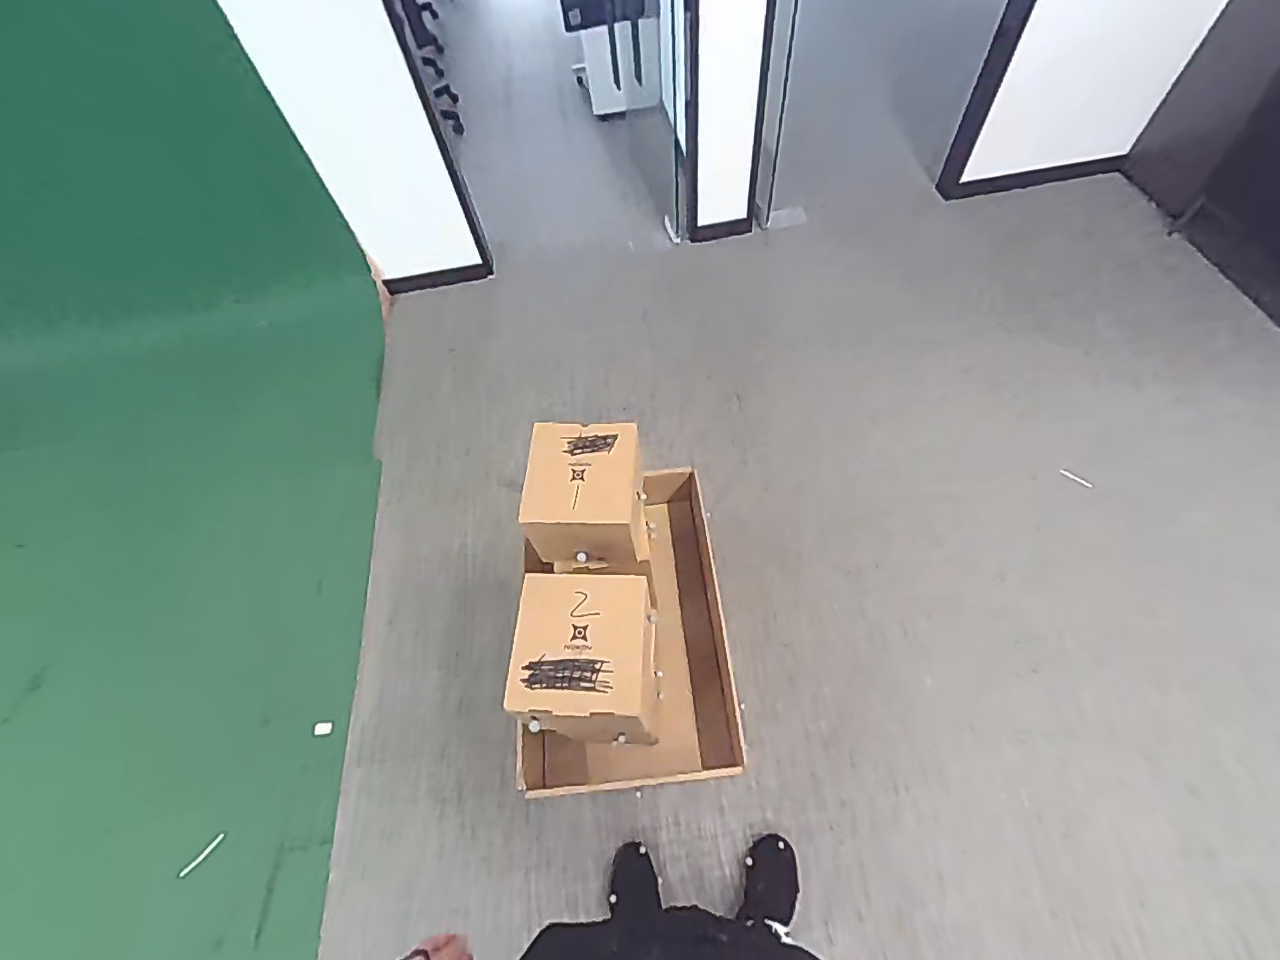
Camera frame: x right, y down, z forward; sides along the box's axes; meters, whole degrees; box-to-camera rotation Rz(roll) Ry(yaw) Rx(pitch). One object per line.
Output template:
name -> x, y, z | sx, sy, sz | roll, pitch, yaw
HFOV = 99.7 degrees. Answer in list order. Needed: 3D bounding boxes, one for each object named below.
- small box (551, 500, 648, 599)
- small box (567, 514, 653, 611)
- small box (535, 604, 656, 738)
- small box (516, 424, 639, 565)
small box -> -0.076, 0.111, 1.027 | 0.168, 0.176, 0.179 | -7, 61, -1
small box -> -0.065, 0.189, 1.169 | 0.168, 0.176, 0.179 | -8, 60, 1
small box -> -0.063, 0.320, 0.896 | 0.168, 0.176, 0.179 | 2, 58, 5
small box -> -0.091, 0.027, 0.887 | 0.168, 0.176, 0.179 | 0, 62, 4
